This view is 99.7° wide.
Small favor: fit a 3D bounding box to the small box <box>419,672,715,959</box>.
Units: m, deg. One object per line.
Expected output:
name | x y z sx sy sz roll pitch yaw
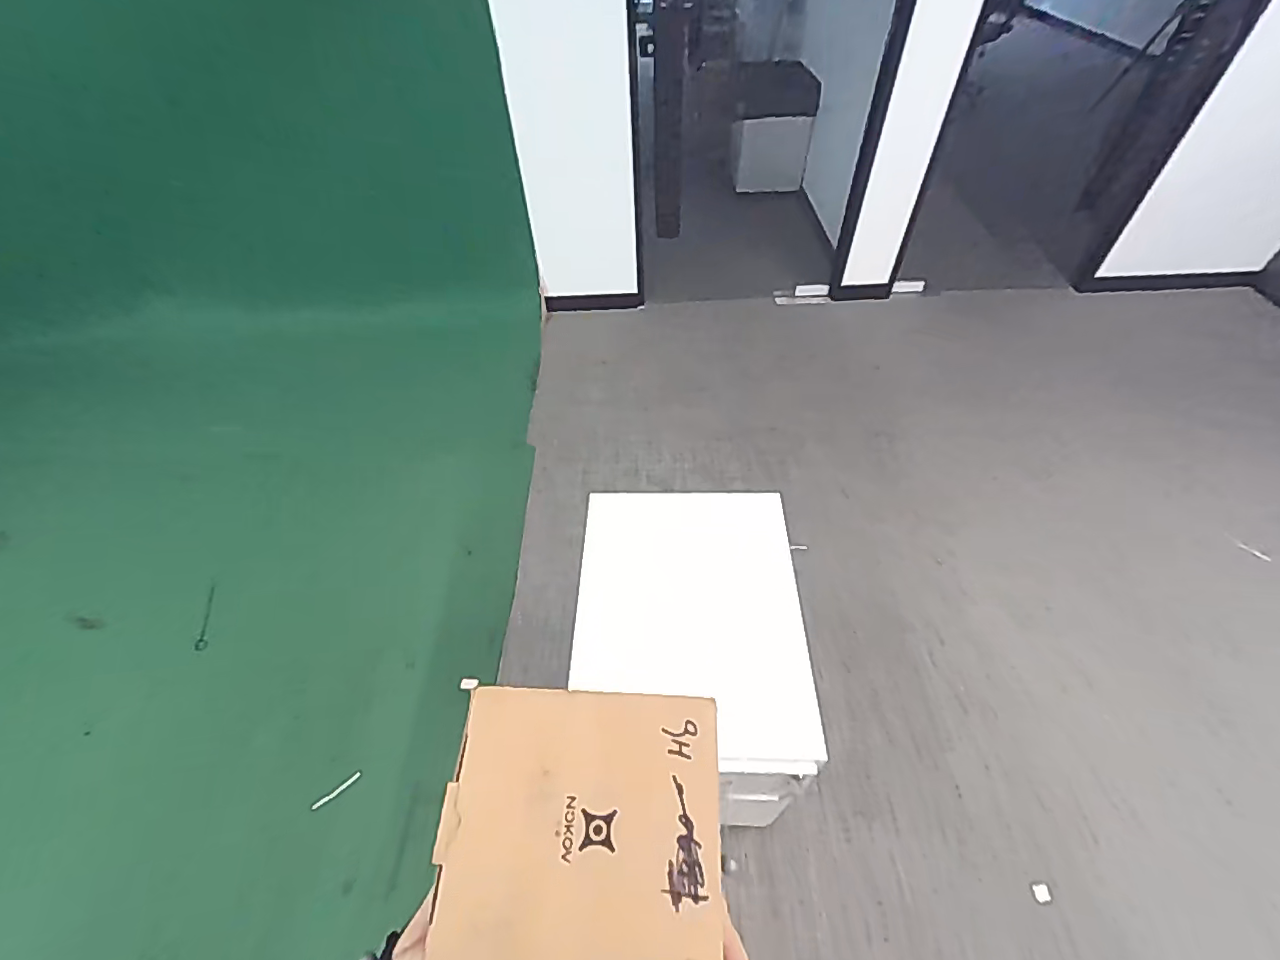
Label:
small box | -0.040 0.256 0.420 0.179 0.176 0.168 3 59 0
